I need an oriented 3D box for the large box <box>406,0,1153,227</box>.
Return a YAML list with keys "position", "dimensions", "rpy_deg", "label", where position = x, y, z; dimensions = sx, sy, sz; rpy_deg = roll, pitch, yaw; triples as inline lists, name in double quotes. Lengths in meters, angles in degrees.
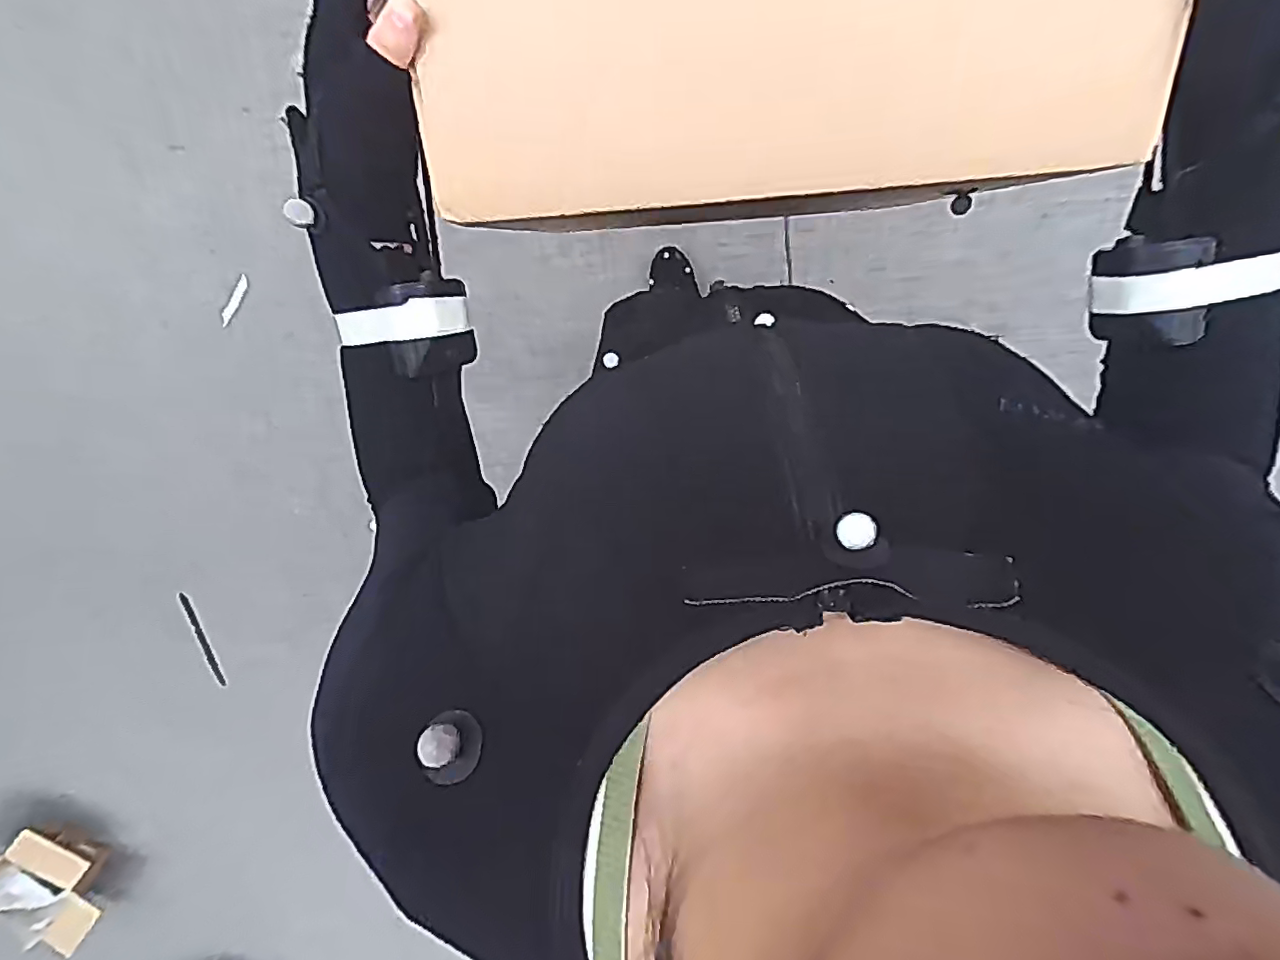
- position: [0.072, -0.372, 0.399]
  dimensions: [0.408, 0.320, 0.320]
  rpy_deg: [-3, 113, 3]
  label: "large box"
